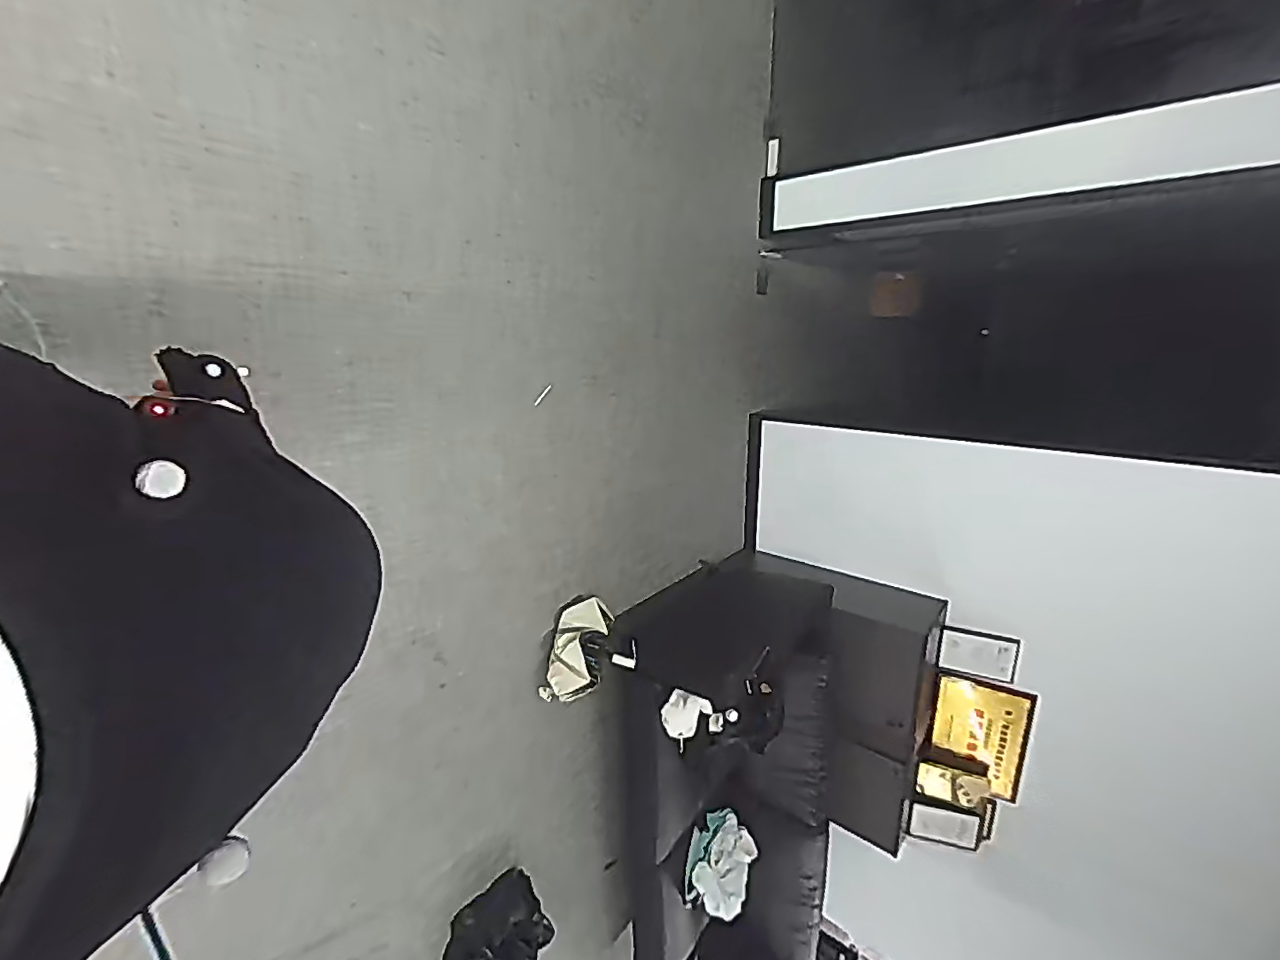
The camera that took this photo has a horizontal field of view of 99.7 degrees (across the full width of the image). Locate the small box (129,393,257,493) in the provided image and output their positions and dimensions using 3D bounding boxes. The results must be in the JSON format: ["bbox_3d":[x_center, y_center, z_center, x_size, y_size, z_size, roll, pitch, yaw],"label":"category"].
[{"bbox_3d":[-0.929,-0.085,1.127,0.168,0.176,0.179,-14,111,-50],"label":"small box"}]
